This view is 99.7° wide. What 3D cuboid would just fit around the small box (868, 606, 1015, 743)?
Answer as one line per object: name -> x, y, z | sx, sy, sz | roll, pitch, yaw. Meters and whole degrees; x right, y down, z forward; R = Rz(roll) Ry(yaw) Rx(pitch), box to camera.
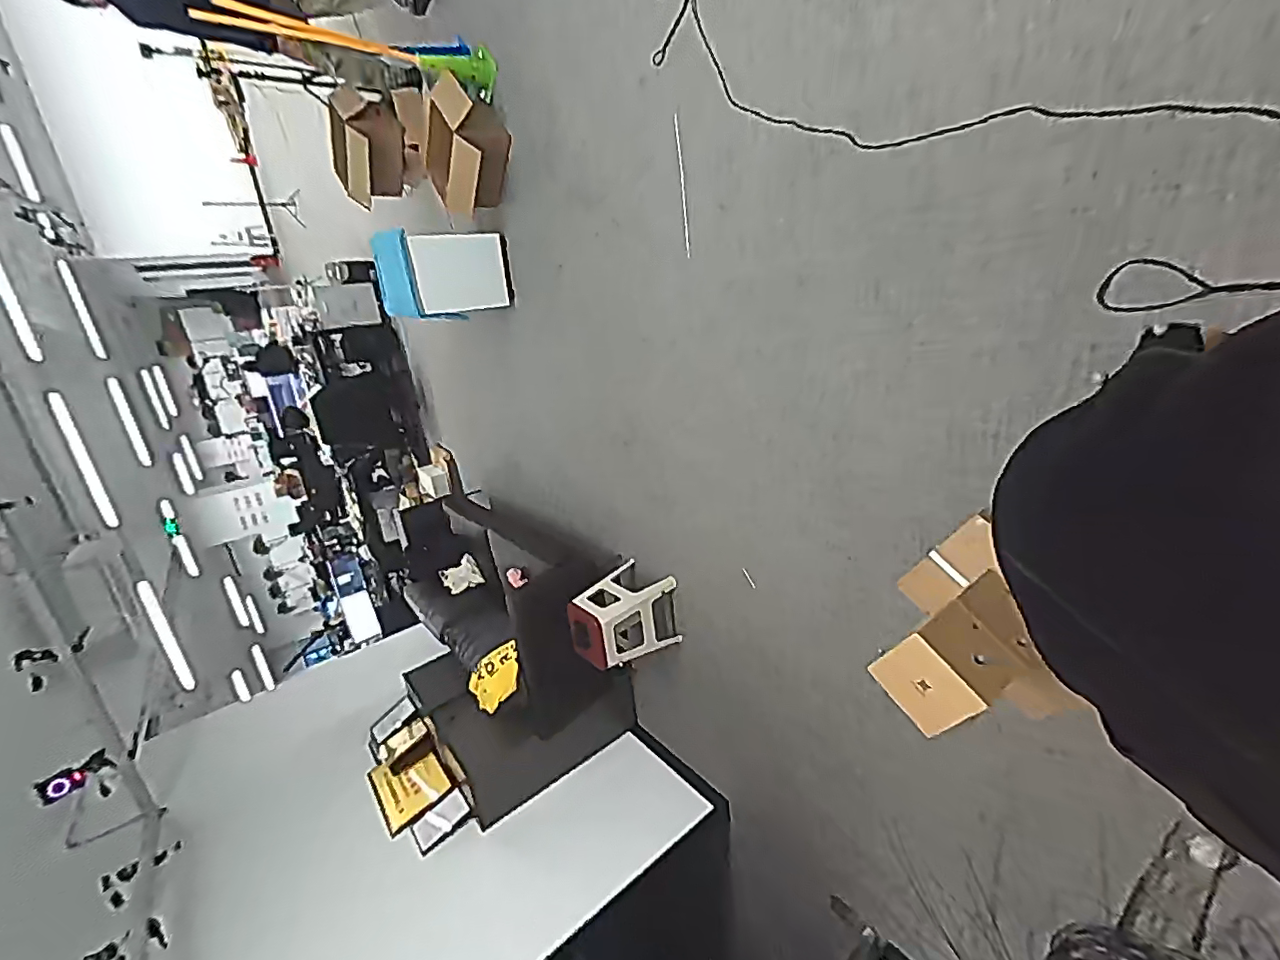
small box -> 0.604, 0.382, 1.079 | 0.168, 0.176, 0.179 | 51, 143, 27
